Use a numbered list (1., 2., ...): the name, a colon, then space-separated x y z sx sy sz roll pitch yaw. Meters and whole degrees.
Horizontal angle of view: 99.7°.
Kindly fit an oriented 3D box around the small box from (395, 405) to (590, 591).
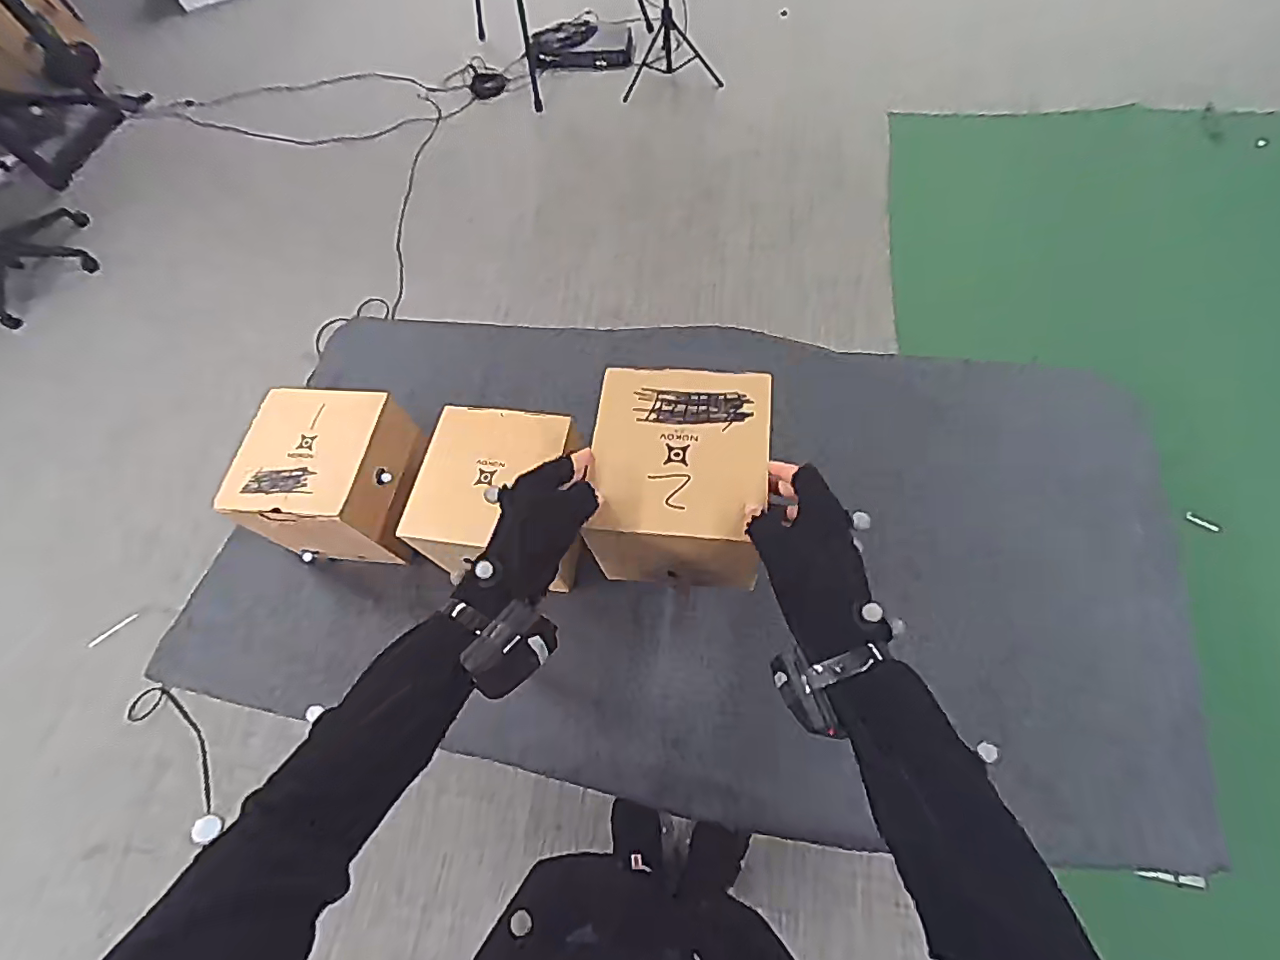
1. small box: -0.168 0.029 0.682 0.168 0.176 0.179 6 63 9

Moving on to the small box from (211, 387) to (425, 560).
1. small box: -0.399 -0.002 0.720 0.168 0.176 0.179 3 63 7
